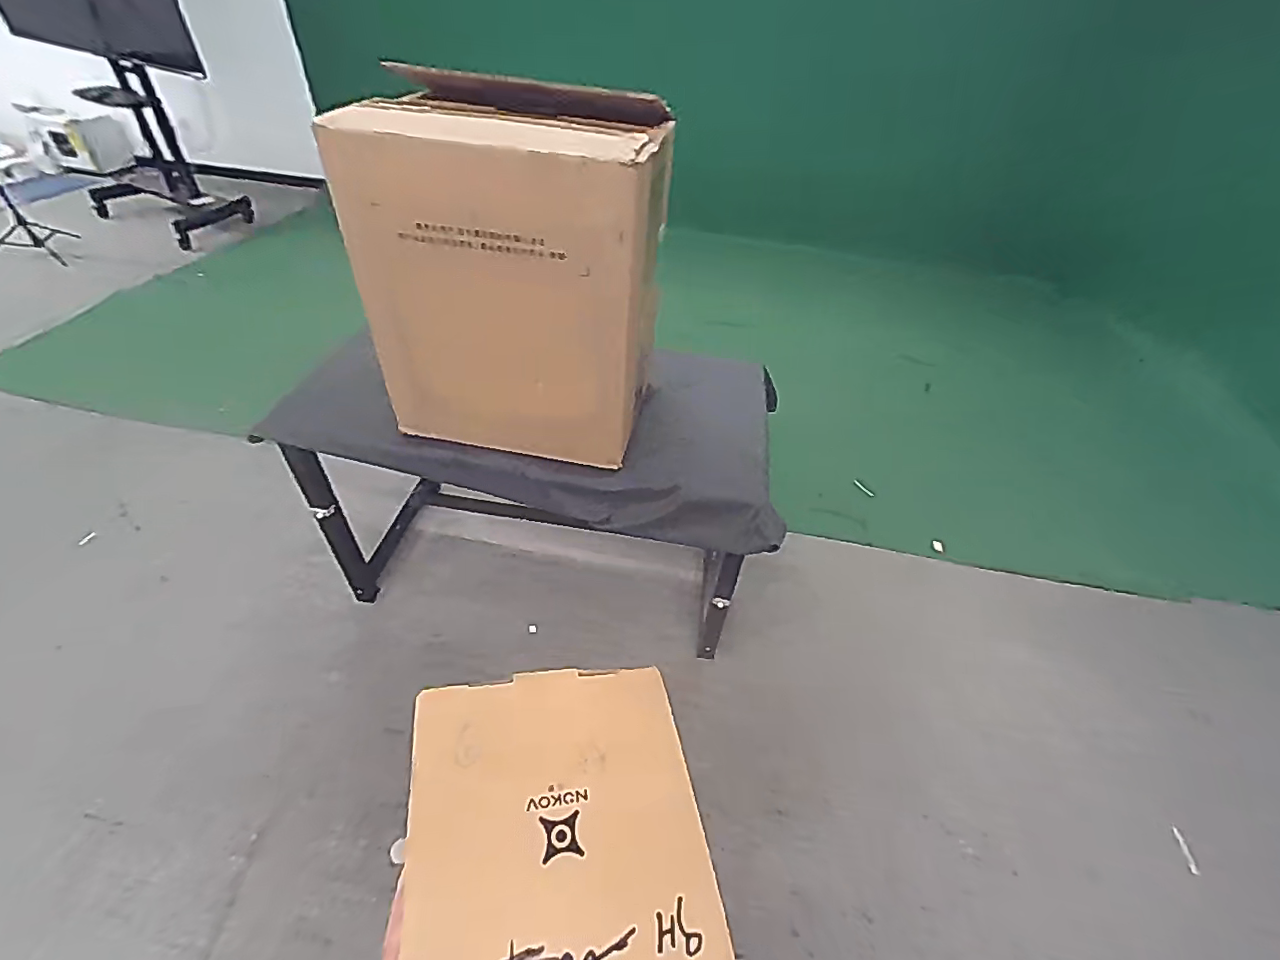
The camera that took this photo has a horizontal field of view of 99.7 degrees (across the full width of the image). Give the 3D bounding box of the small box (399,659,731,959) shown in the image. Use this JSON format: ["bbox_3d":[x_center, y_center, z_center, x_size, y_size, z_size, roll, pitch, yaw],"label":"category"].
[{"bbox_3d":[-0.064,0.249,0.368,0.168,0.176,0.179,0,43,-17],"label":"small box"}]
